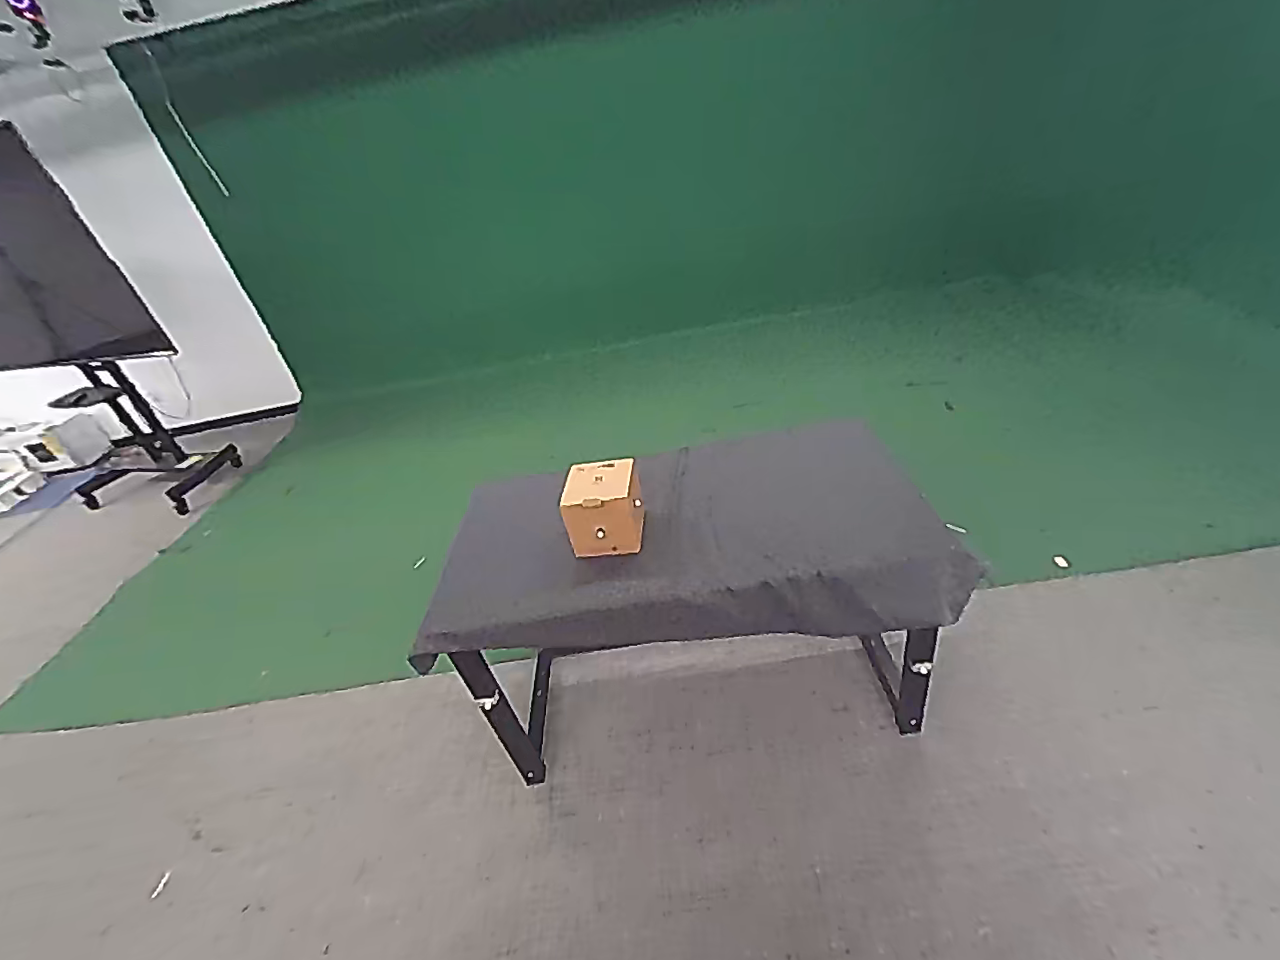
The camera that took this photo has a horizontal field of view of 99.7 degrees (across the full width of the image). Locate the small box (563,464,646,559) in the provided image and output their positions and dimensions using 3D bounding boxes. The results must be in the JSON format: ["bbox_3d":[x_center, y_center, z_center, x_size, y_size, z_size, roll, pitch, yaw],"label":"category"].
[{"bbox_3d":[-0.082,0.085,1.364,0.168,0.176,0.179,-9,33,8],"label":"small box"}]
